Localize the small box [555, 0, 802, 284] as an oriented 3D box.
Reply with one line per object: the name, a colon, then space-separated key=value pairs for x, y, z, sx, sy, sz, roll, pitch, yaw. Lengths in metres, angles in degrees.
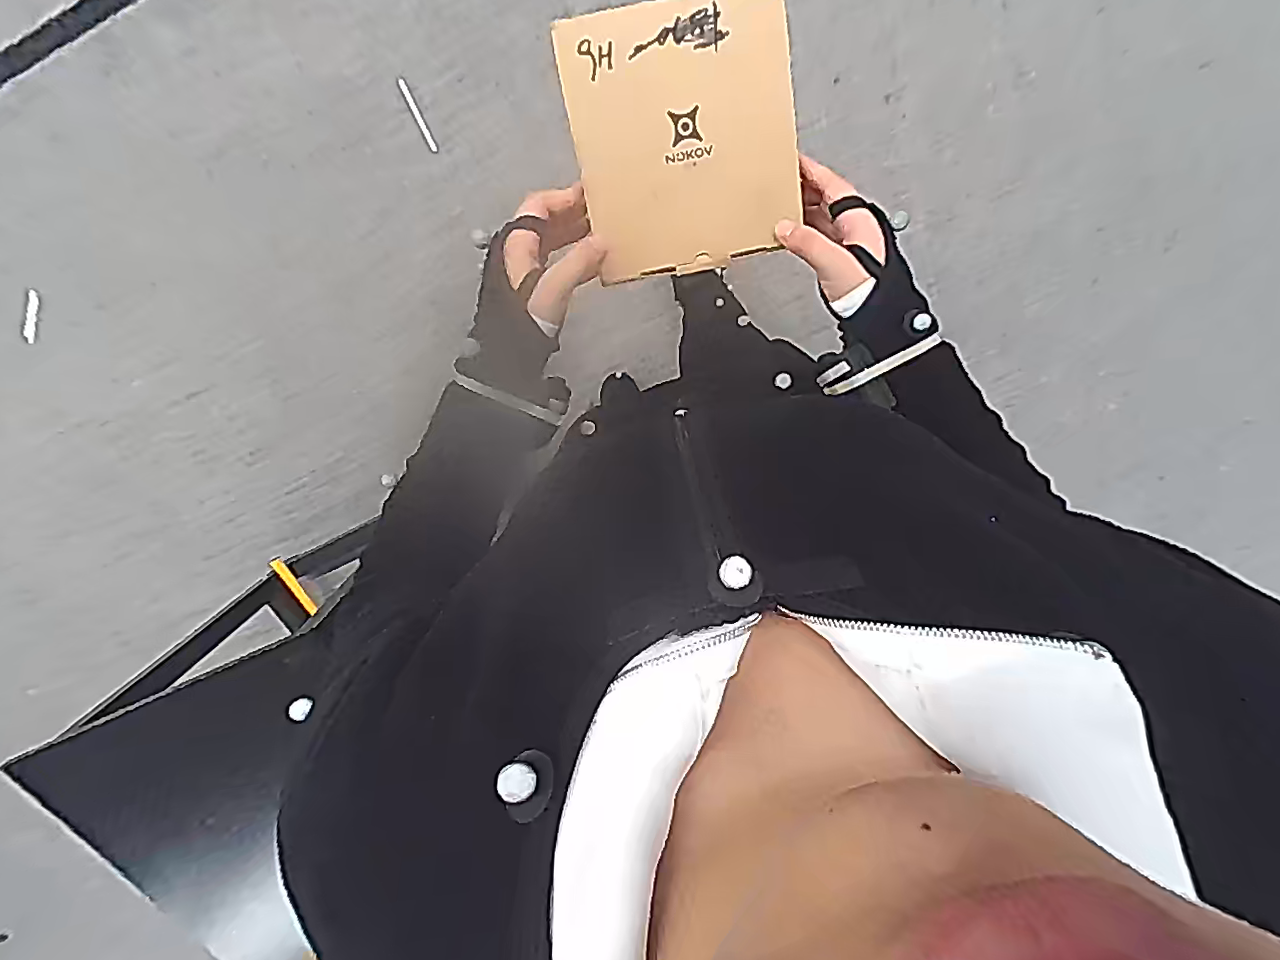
small box: x=0.031 y=-0.281 z=0.476 sx=0.168 sy=0.176 sz=0.179 roll=-12 pitch=111 yaw=0
